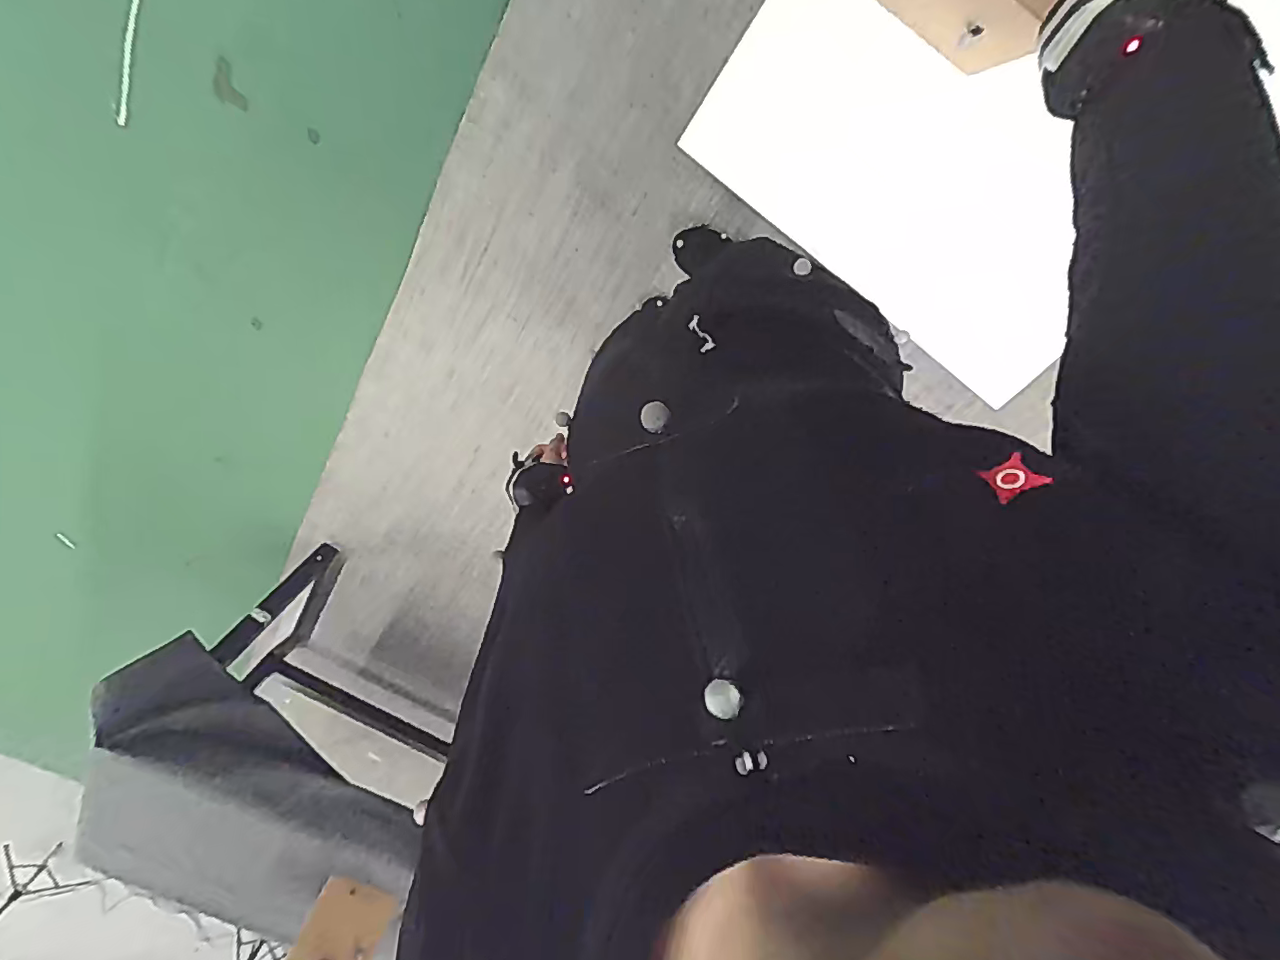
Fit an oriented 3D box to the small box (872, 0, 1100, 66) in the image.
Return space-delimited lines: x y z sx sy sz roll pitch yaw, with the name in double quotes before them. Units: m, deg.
"small box" 0.281 -0.452 0.406 0.179 0.176 0.168 30 117 -9
